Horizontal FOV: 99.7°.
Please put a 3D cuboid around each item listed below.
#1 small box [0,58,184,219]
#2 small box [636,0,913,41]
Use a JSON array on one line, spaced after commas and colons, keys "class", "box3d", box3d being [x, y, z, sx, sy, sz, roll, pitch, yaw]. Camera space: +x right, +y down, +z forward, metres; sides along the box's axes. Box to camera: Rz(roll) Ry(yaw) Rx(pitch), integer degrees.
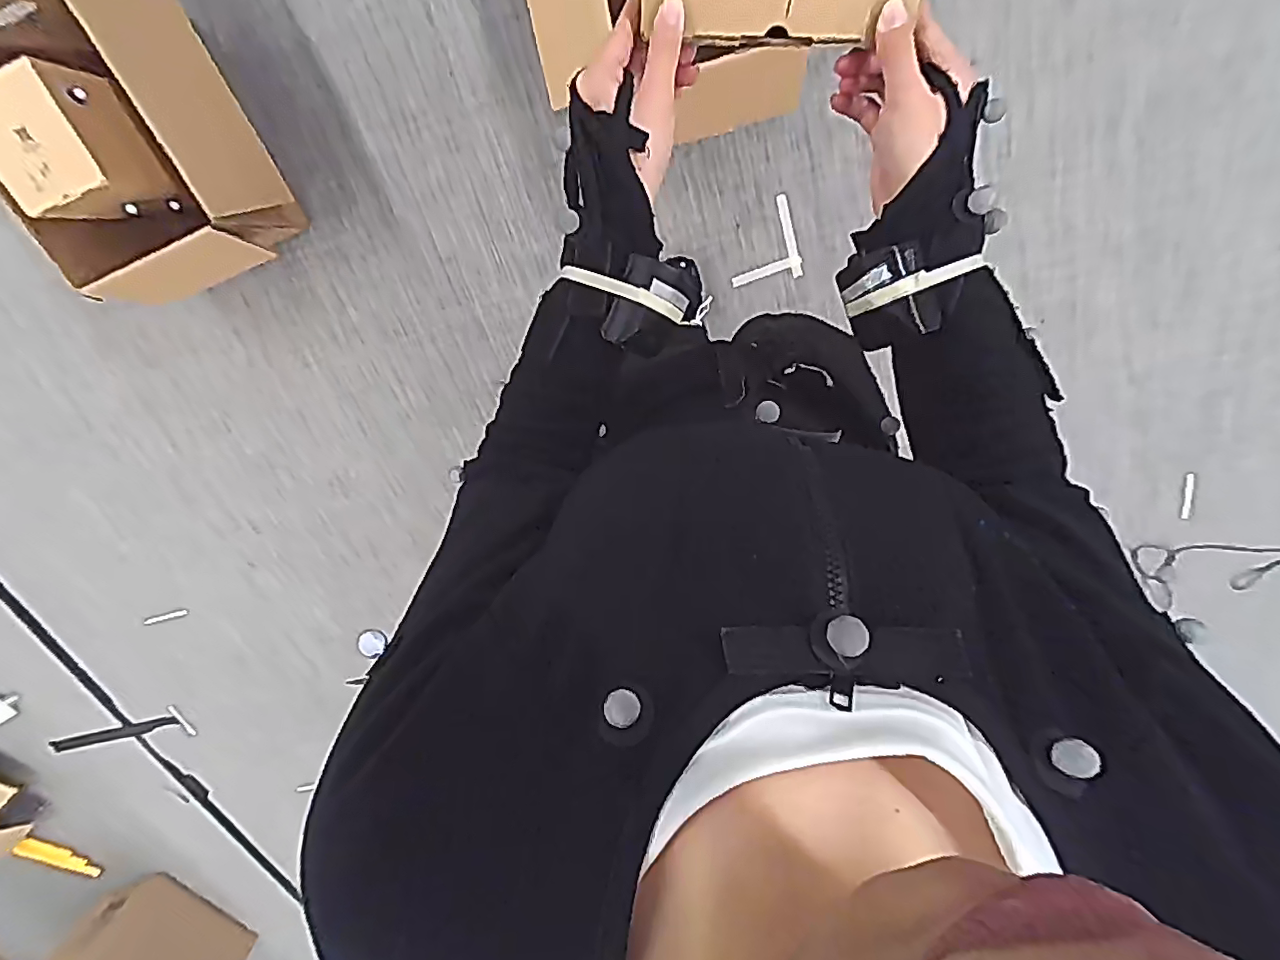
[{"class": "small box", "box3d": [-0.949, -0.561, 0.916, 0.168, 0.176, 0.179, -17, 113, 9]}, {"class": "small box", "box3d": [0.084, -0.389, 0.337, 0.168, 0.176, 0.179, 1, 127, 0]}]
